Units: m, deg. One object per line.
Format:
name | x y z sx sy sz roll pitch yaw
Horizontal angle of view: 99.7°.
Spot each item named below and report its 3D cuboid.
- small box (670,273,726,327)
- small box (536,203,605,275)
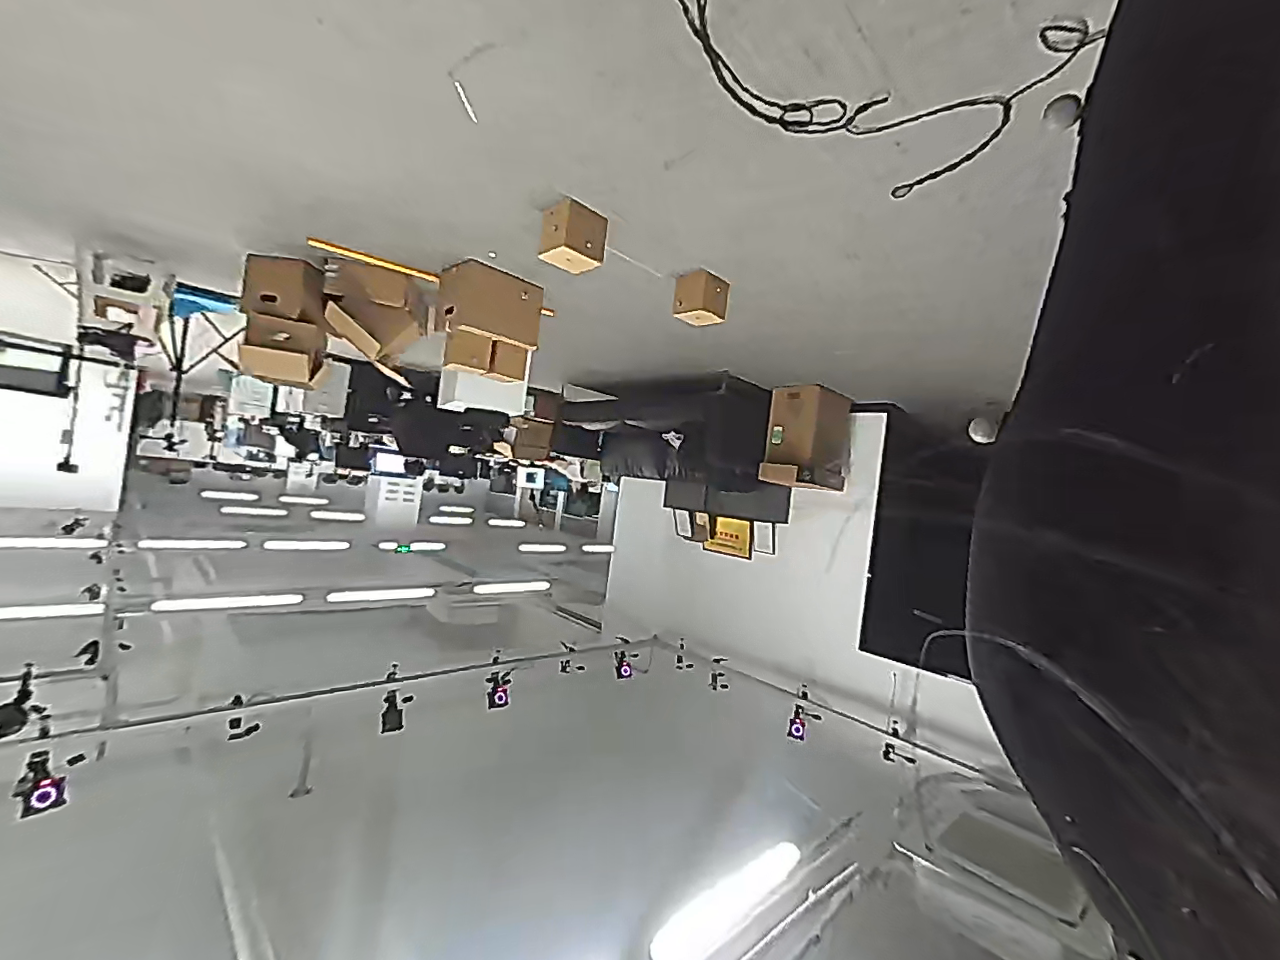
small box | 0.258 -0.788 2.373 0.168 0.176 0.179 7 180 -44
small box | -0.244 -0.854 1.911 0.179 0.176 0.168 7 179 -44
